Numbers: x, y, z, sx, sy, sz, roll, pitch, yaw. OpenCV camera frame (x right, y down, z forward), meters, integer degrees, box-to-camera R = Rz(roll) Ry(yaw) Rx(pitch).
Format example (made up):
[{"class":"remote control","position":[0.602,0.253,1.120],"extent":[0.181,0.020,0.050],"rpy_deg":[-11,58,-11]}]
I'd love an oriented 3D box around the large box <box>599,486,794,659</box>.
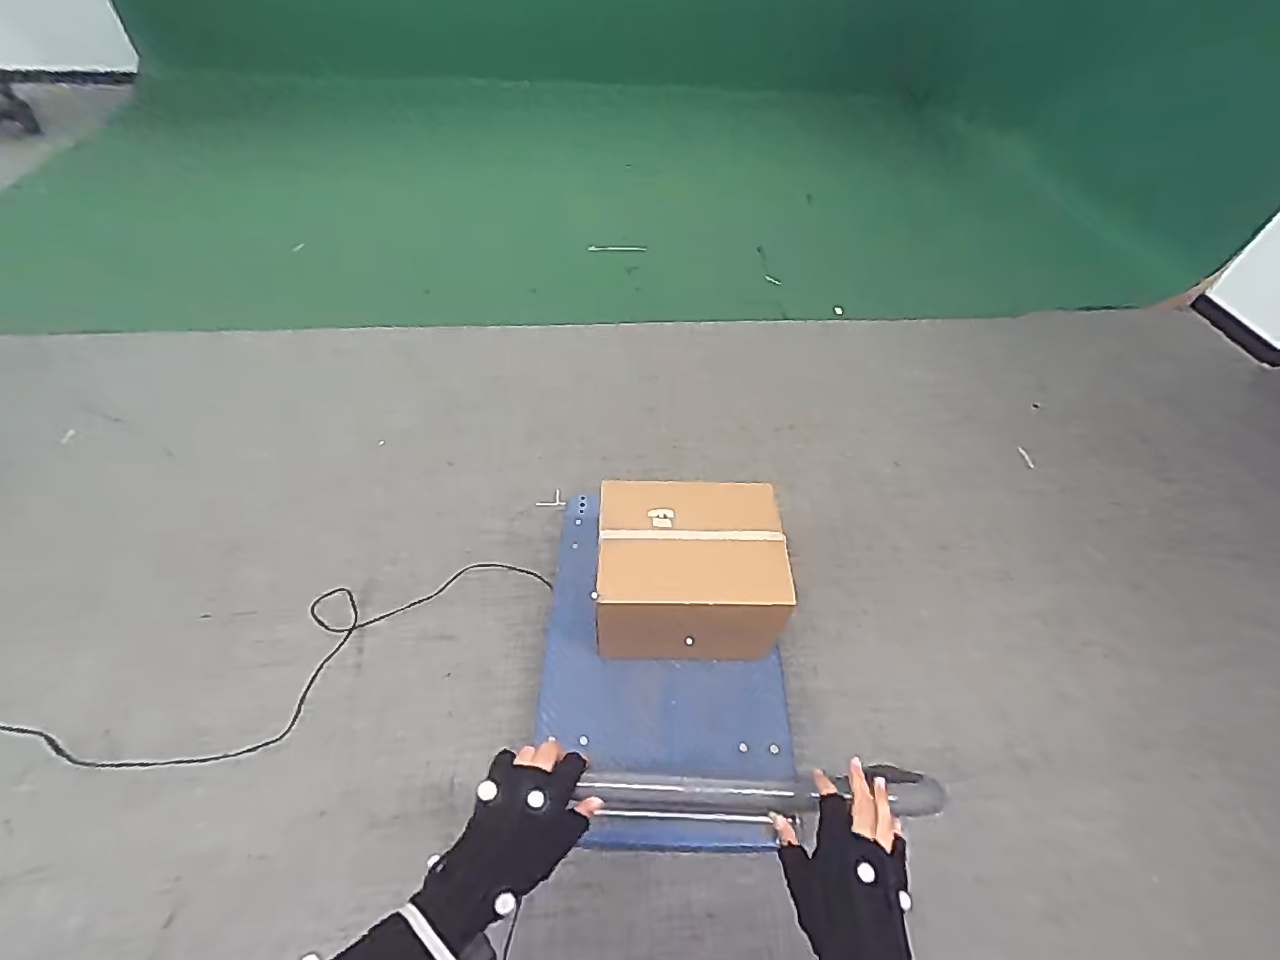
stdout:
[{"class":"large box","position":[0.109,0.227,1.296],"extent":[0.408,0.320,0.320],"rpy_deg":[1,50,-2]}]
